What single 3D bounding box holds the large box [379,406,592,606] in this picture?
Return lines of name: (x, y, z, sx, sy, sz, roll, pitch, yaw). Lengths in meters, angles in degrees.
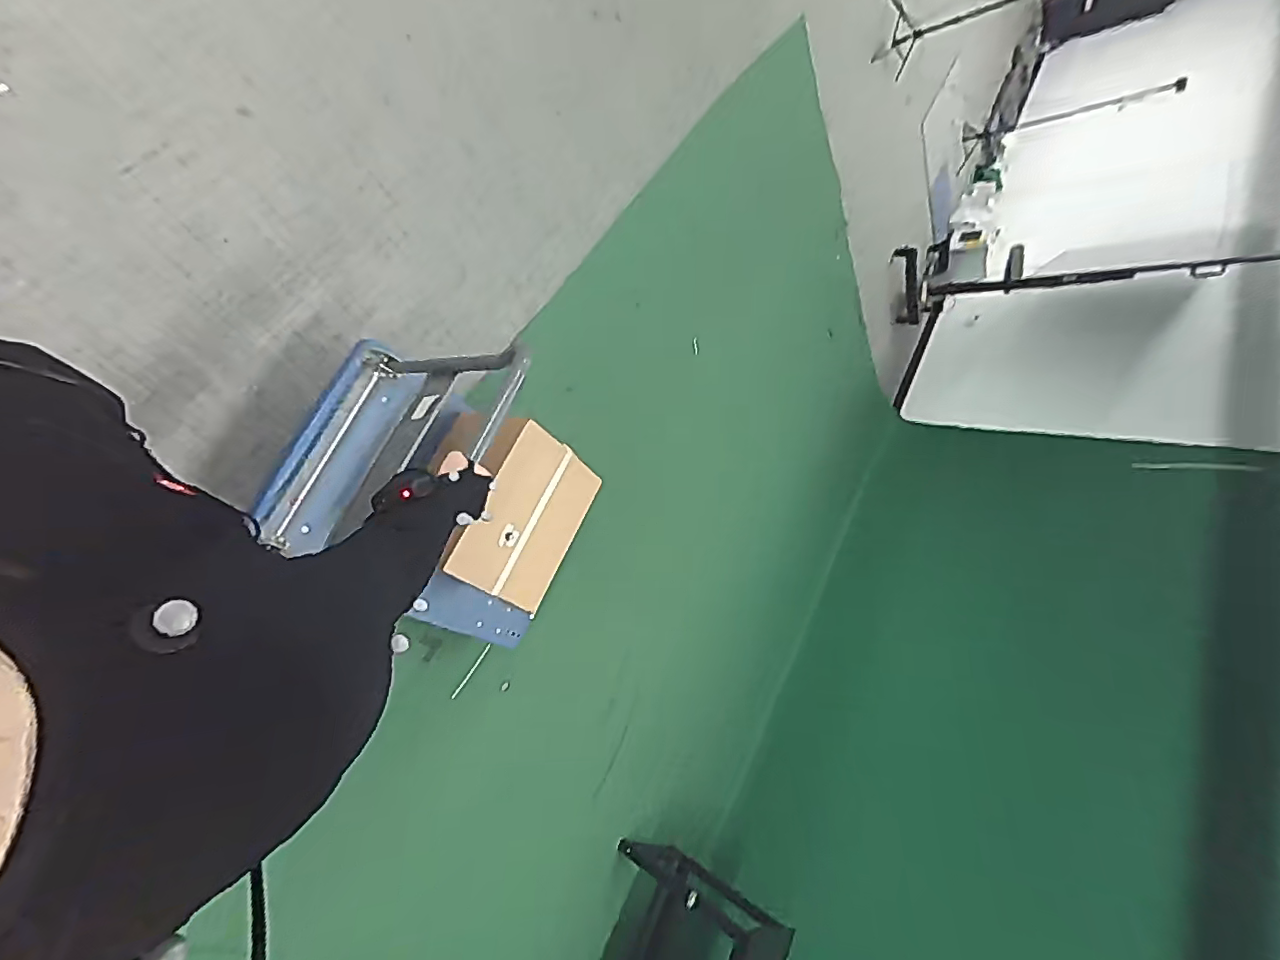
large box: (-0.399, 0.059, 1.435, 0.320, 0.320, 0.408, 43, 66, -45)
